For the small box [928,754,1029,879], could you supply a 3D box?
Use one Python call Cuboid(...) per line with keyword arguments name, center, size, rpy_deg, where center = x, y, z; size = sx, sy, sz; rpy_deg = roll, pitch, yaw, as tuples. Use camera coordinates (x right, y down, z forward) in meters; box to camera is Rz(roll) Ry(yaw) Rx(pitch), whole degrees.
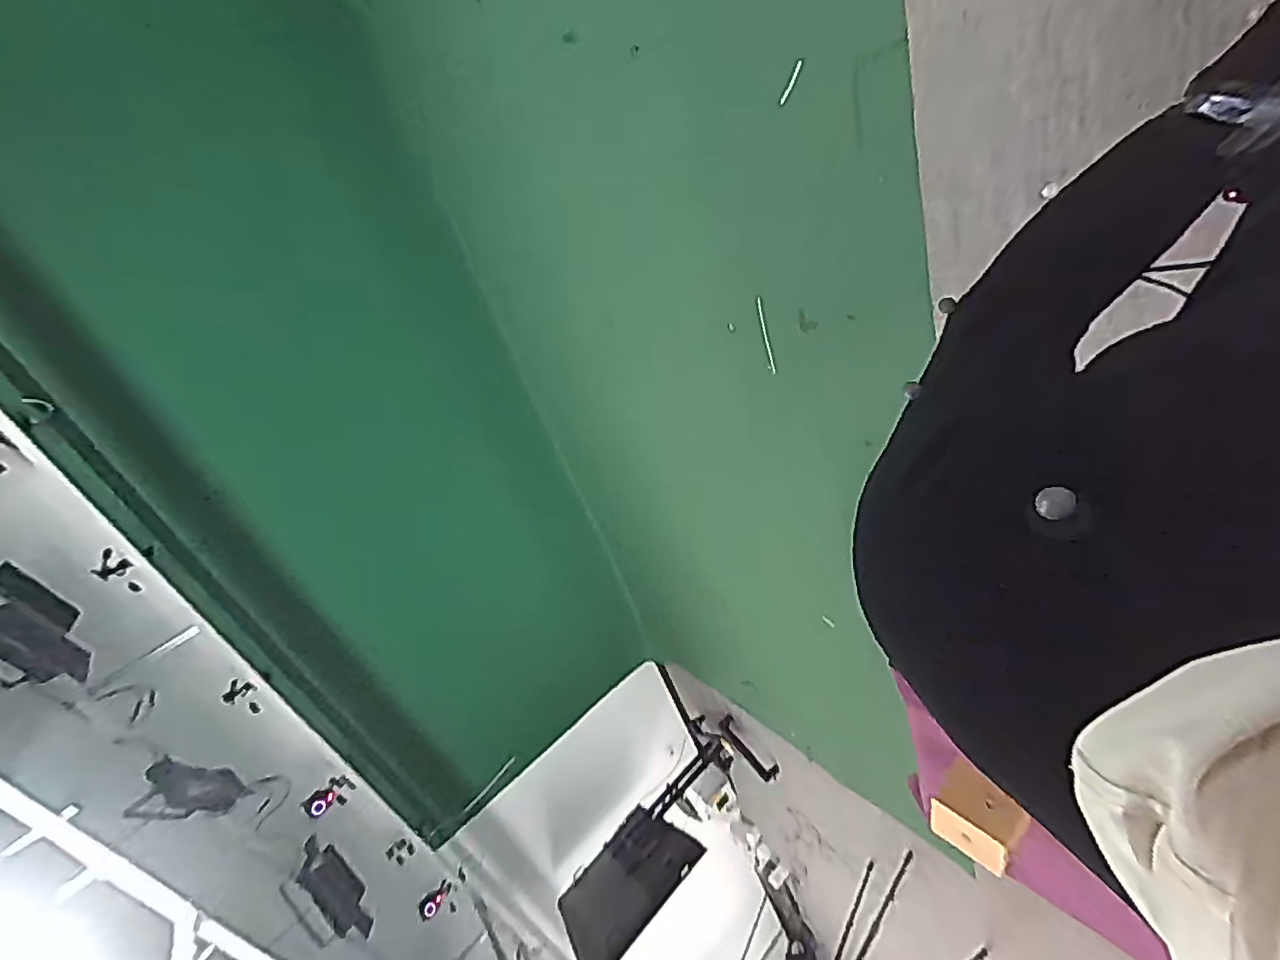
Cuboid(name="small box", center=(0.845, 0.831, 1.353), size=(0.168, 0.176, 0.179), rpy_deg=(22, 141, 46))
